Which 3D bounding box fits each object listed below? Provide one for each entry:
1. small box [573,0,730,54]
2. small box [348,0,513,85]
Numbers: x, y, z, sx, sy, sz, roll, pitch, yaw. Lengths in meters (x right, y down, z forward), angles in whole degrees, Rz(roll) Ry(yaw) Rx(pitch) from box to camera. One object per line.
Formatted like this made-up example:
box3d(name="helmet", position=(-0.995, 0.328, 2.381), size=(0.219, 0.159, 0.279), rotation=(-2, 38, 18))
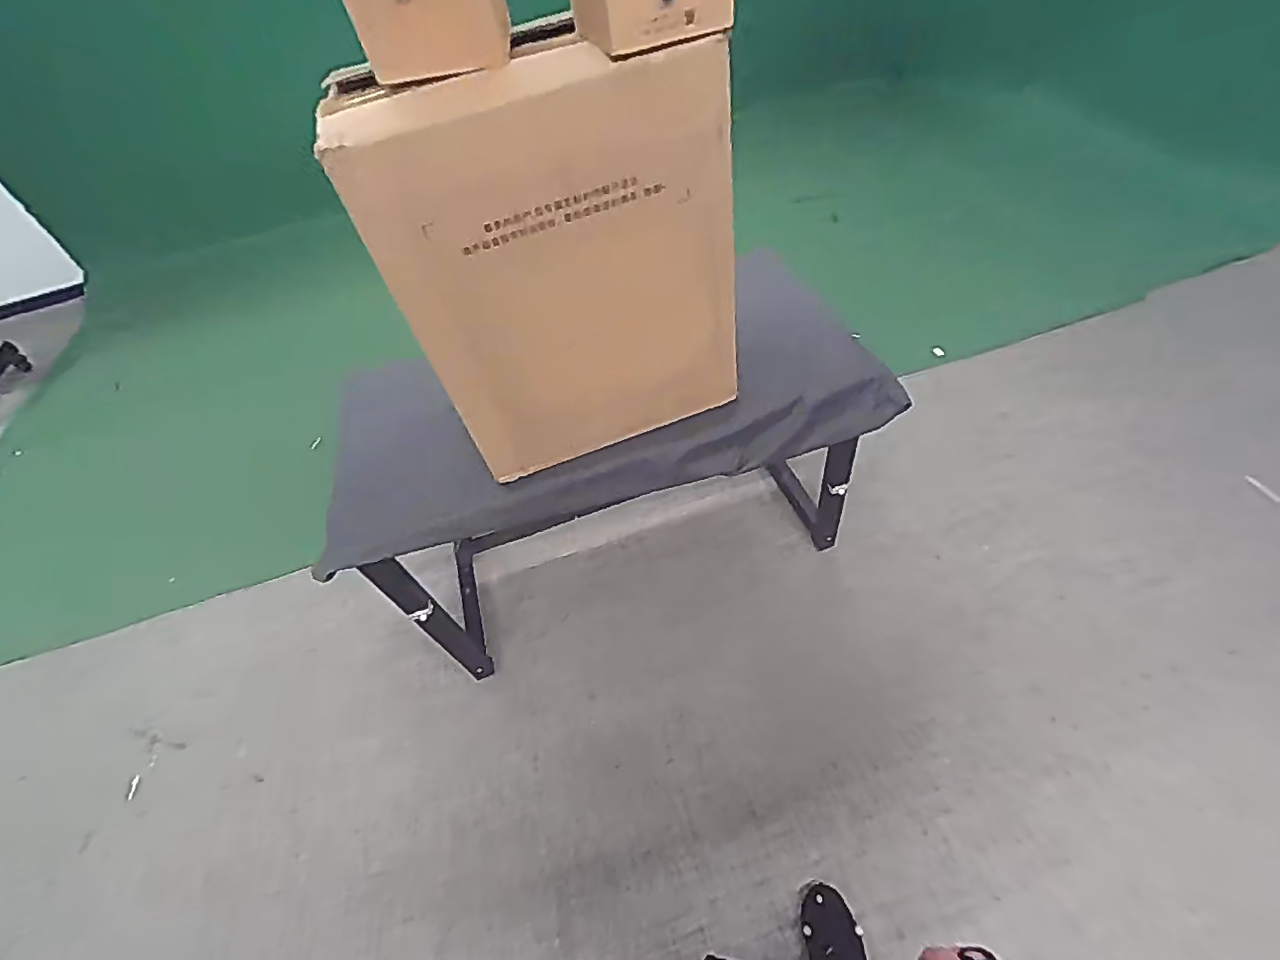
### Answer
box3d(name="small box", position=(0.003, -0.655, 0.667), size=(0.168, 0.176, 0.179), rotation=(-20, 51, -7))
box3d(name="small box", position=(-0.276, -0.641, 0.692), size=(0.179, 0.176, 0.168), rotation=(-9, 58, 2))
